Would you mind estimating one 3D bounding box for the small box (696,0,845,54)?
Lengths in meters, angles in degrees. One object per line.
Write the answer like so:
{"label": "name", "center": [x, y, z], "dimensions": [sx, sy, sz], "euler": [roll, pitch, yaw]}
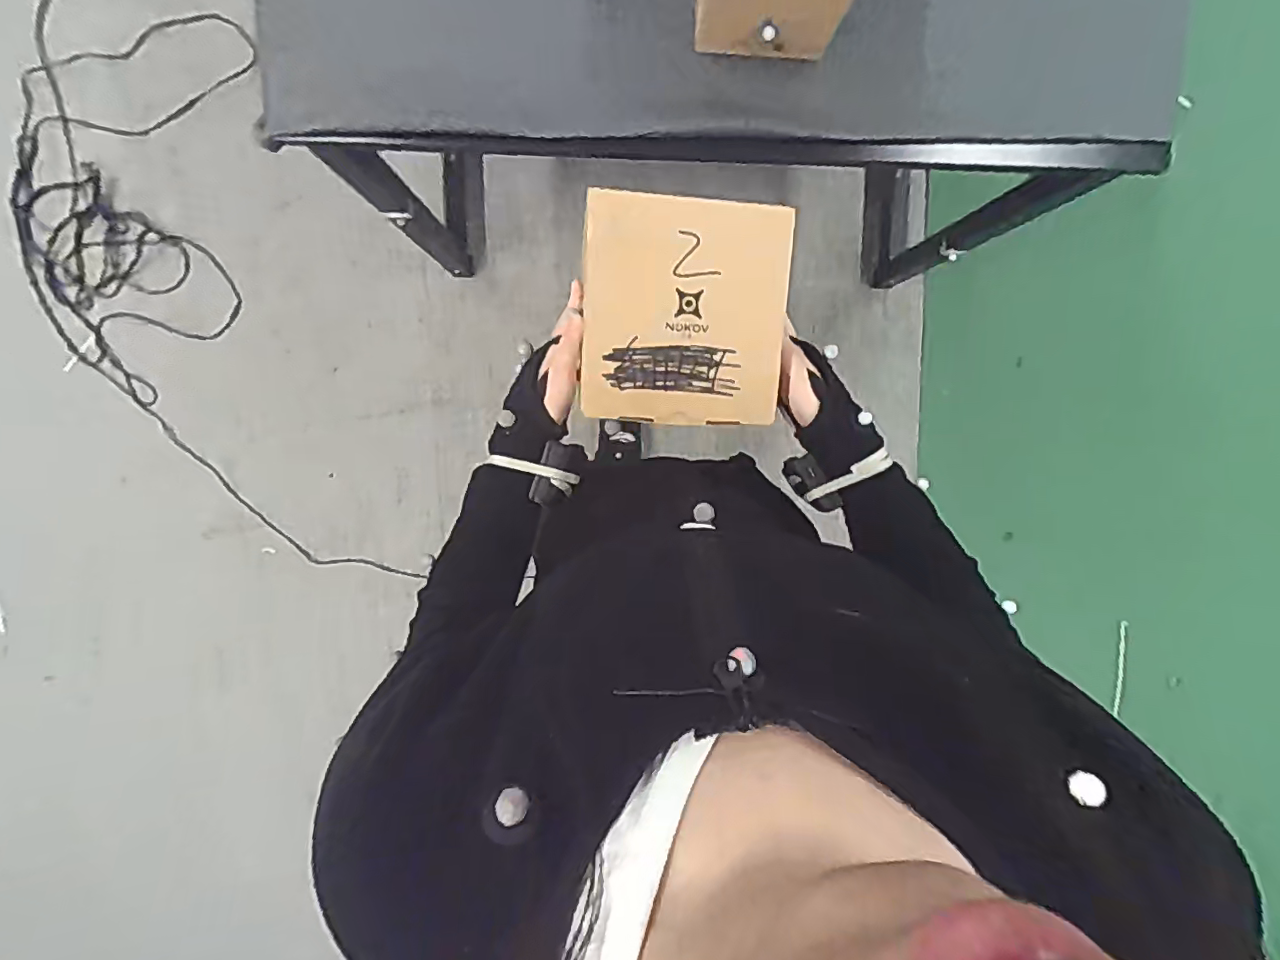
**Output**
{"label": "small box", "center": [0.157, -0.633, 0.607], "dimensions": [0.168, 0.176, 0.179], "euler": [1, 96, -2]}
